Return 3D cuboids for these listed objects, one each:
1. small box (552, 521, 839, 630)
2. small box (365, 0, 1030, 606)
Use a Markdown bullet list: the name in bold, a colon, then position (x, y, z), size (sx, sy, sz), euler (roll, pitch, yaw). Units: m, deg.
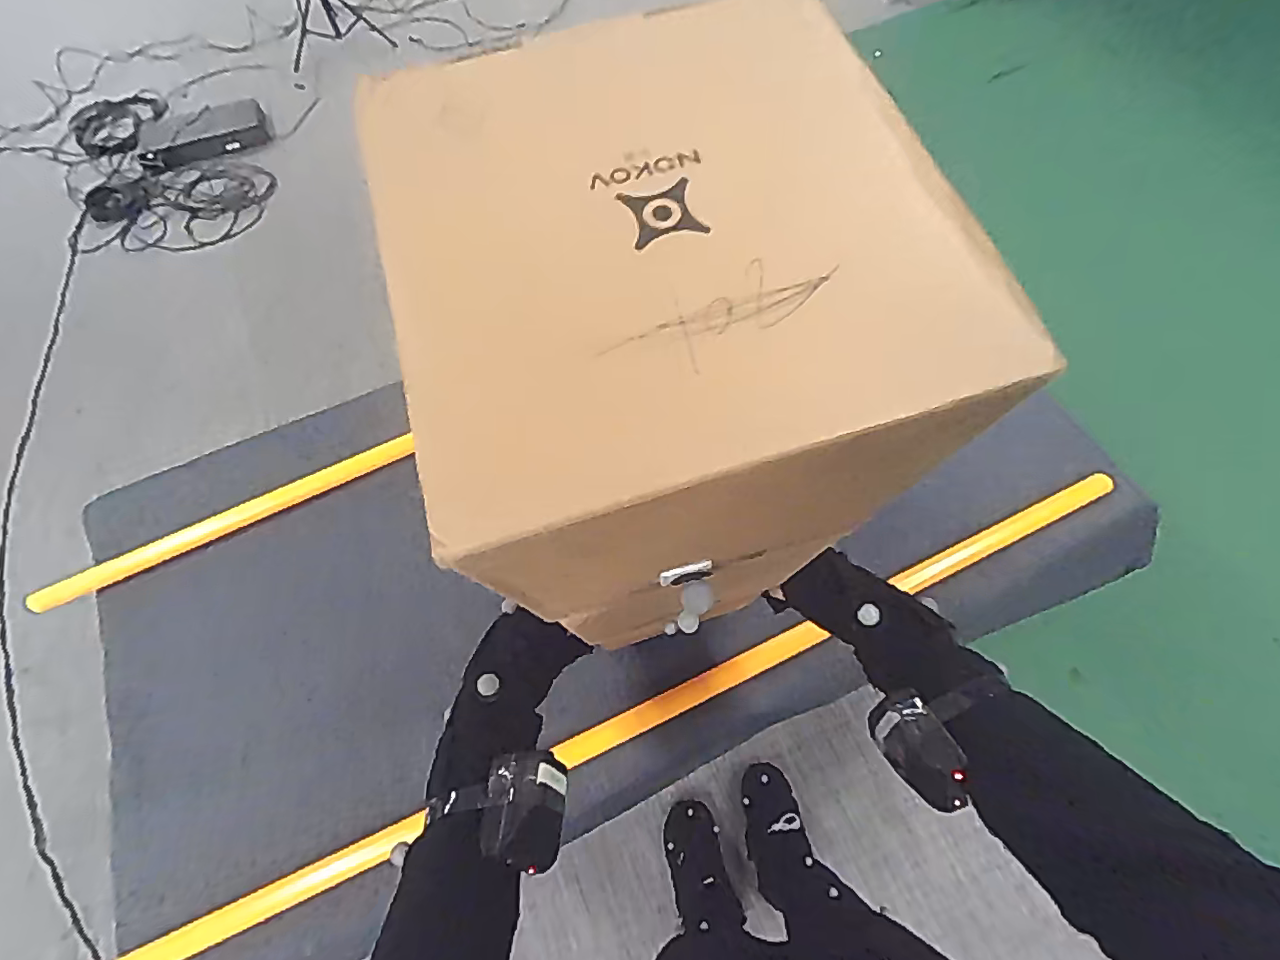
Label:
- **small box**: position (0.011, -0.002, 0.396), size (0.168, 0.176, 0.179), euler (-16, 71, -5)
- **small box**: position (0.007, -0.056, 0.244), size (0.168, 0.176, 0.179), euler (-17, 72, -4)
